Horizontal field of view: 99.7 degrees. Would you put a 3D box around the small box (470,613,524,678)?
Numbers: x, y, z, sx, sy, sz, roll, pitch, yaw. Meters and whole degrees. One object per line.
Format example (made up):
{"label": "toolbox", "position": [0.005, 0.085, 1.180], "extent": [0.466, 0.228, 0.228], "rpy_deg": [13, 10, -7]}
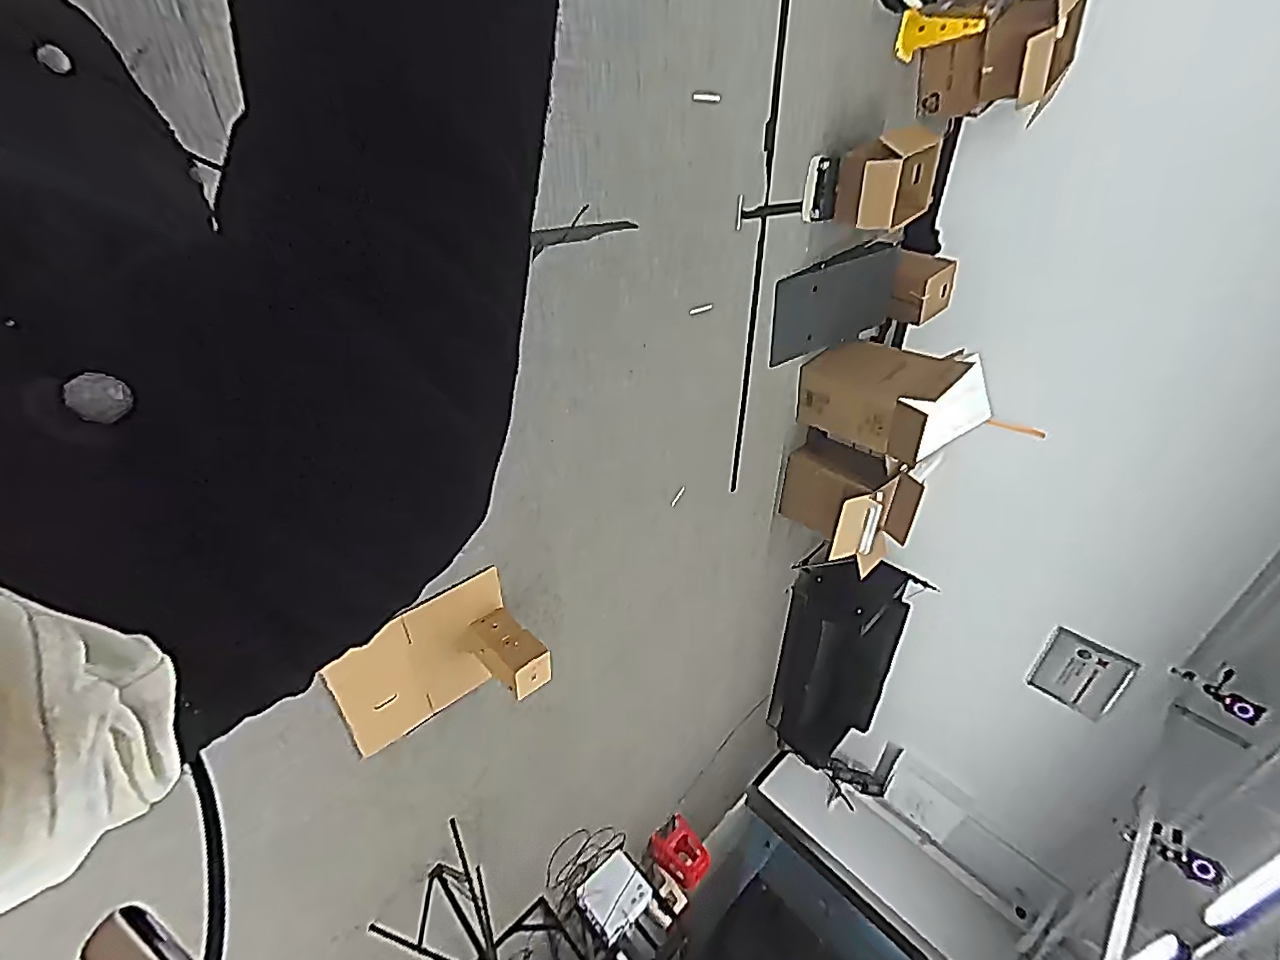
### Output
{"label": "small box", "position": [-0.599, 0.687, 2.286], "extent": [0.168, 0.176, 0.179], "rpy_deg": [-26, 130, -37]}

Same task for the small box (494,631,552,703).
{"label": "small box", "position": [-0.477, 0.754, 2.196], "extent": [0.168, 0.176, 0.179], "rpy_deg": [-25, 130, -39]}
